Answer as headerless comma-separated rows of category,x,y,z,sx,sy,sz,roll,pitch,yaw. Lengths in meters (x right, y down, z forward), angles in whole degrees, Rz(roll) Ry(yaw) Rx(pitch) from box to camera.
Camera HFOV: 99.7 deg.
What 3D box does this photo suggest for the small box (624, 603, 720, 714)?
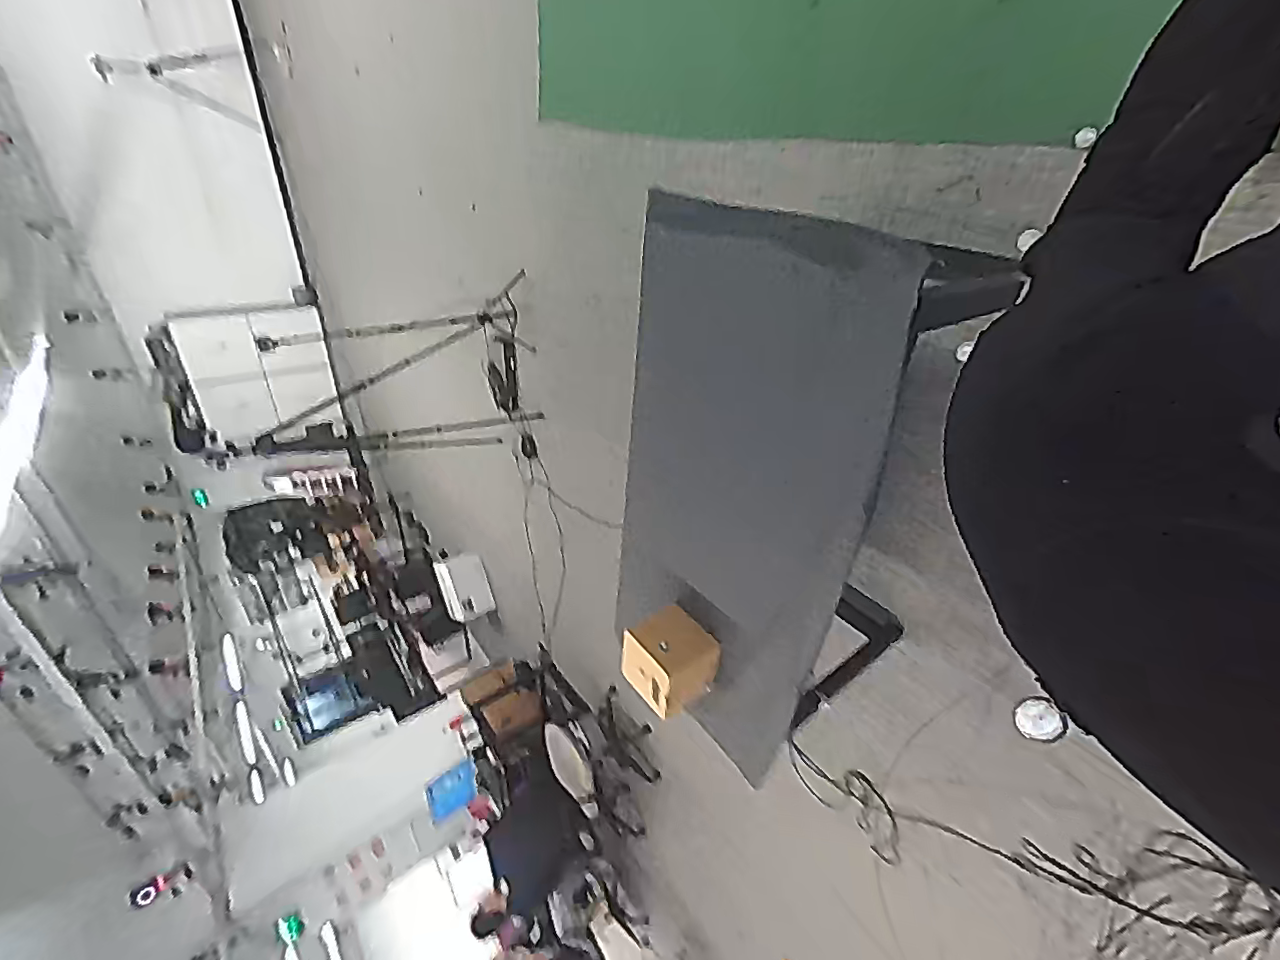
small box,0.080,0.443,1.373,0.179,0.176,0.168,37,134,41
